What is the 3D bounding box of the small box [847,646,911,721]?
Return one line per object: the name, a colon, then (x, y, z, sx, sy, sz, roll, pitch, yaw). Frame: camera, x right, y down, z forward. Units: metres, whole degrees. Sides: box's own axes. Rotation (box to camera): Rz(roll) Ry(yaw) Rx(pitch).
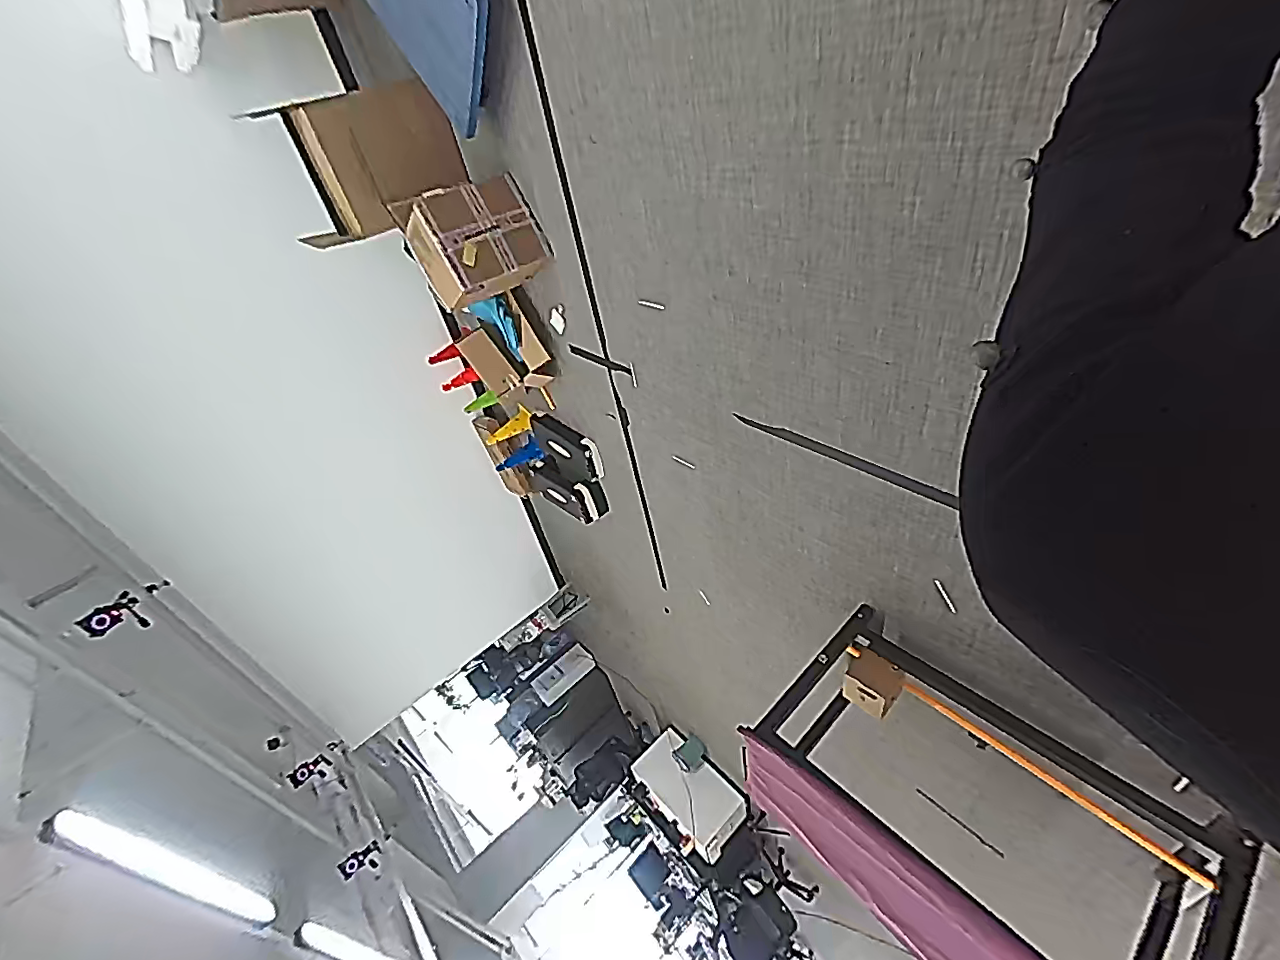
small box: (0.924, 0.779, 2.090, 0.168, 0.176, 0.179, 29, 146, 40)
